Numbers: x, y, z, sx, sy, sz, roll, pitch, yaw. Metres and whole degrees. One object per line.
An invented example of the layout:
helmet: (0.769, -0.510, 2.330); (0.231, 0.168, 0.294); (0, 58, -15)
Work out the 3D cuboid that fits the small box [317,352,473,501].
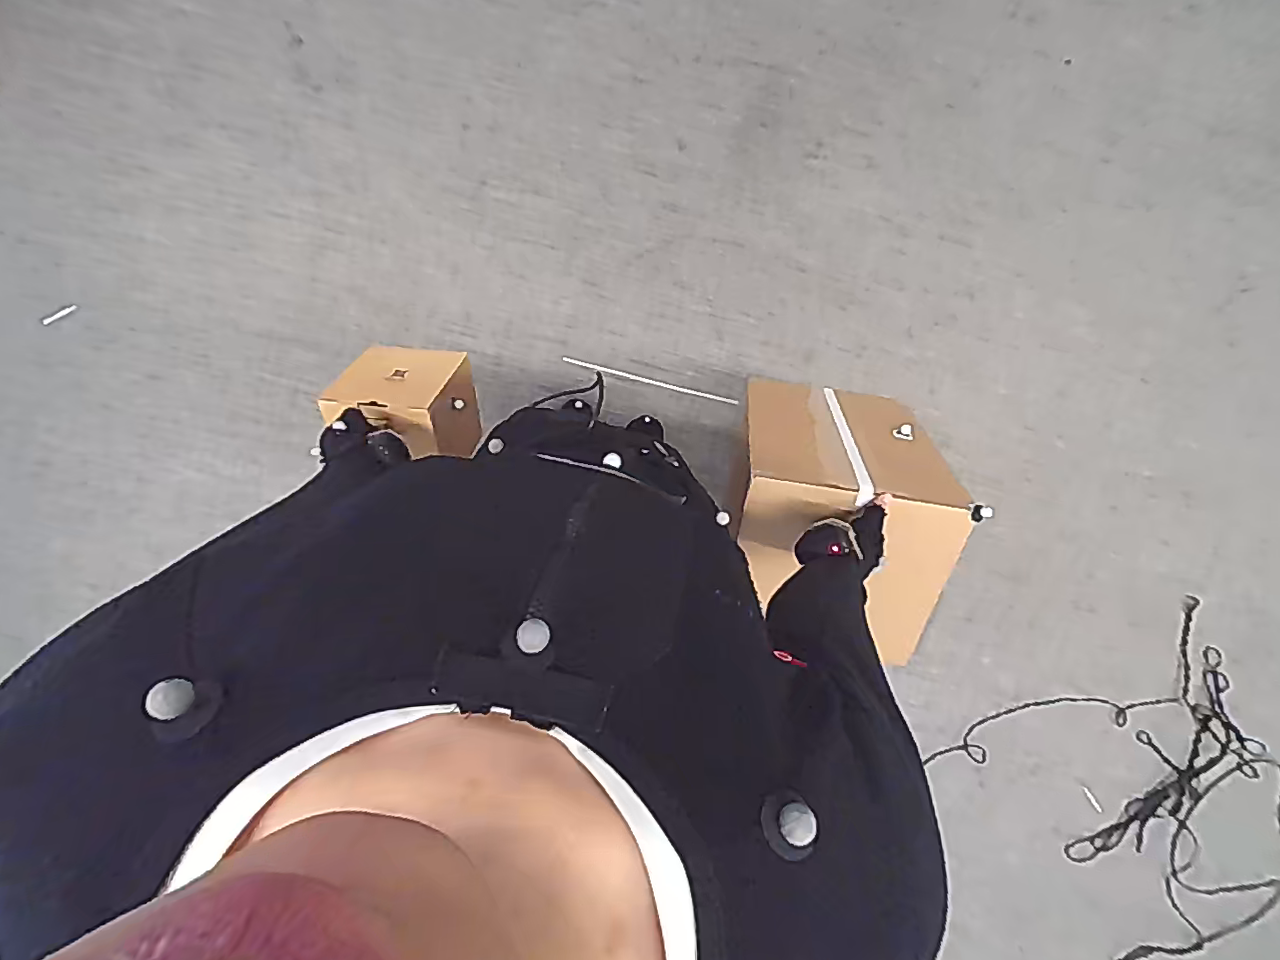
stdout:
small box: (-0.384, -0.089, 0.888); (0.168, 0.179, 0.176); (5, 129, 2)
